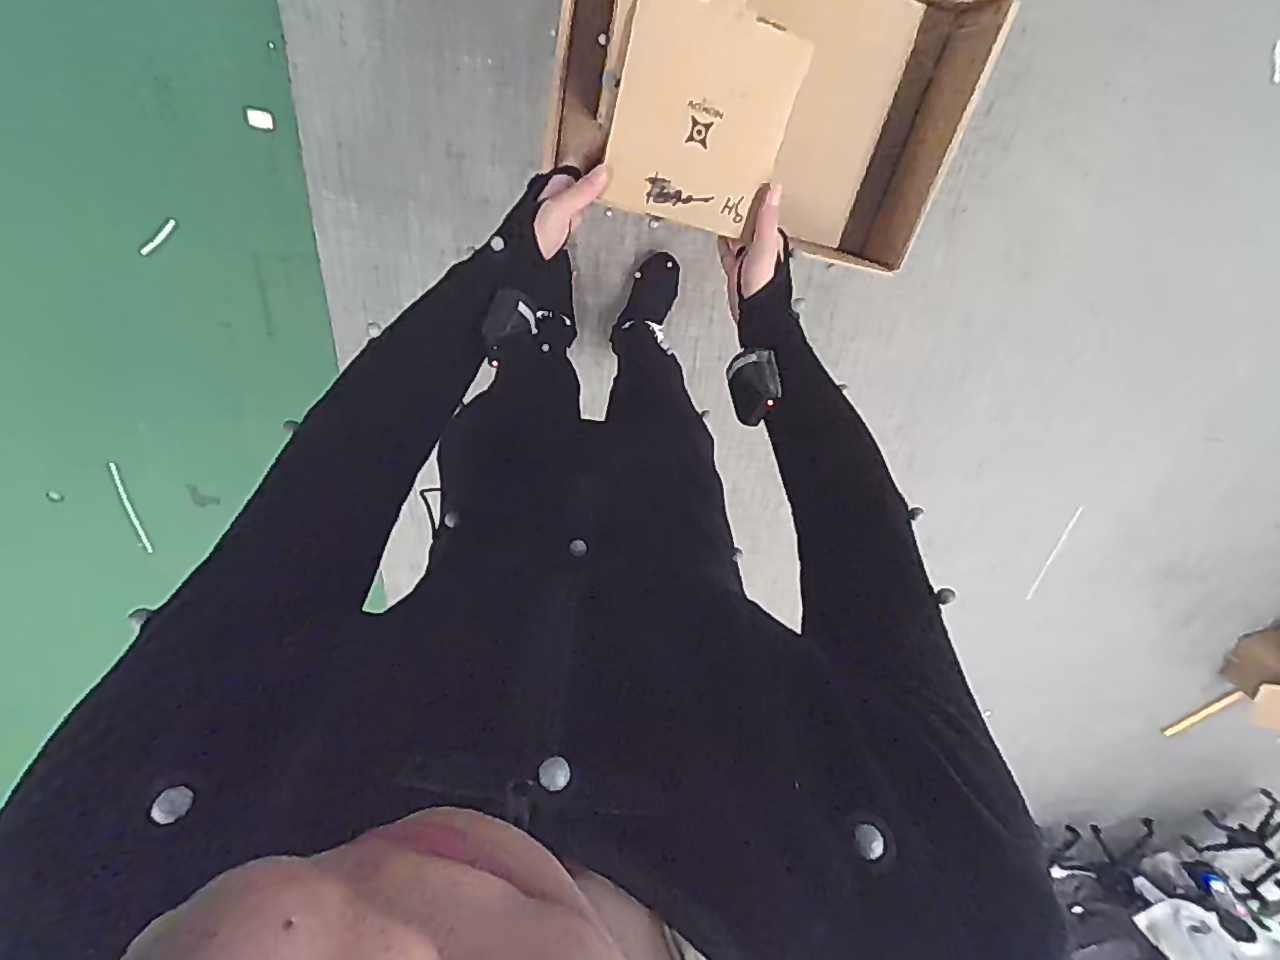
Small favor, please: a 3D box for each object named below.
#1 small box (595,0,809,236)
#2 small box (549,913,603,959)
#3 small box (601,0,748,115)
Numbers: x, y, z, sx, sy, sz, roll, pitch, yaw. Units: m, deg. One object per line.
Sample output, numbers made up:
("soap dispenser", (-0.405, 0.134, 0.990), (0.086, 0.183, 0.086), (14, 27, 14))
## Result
("small box", (0.047, -0.382, 0.578), (0.168, 0.176, 0.179), (10, 118, -12))
("small box", (-0.206, 1.519, 1.728), (0.168, 0.176, 0.179), (1, 123, -8))
("small box", (0.038, -0.610, 0.784), (0.168, 0.176, 0.179), (7, 120, -11))
